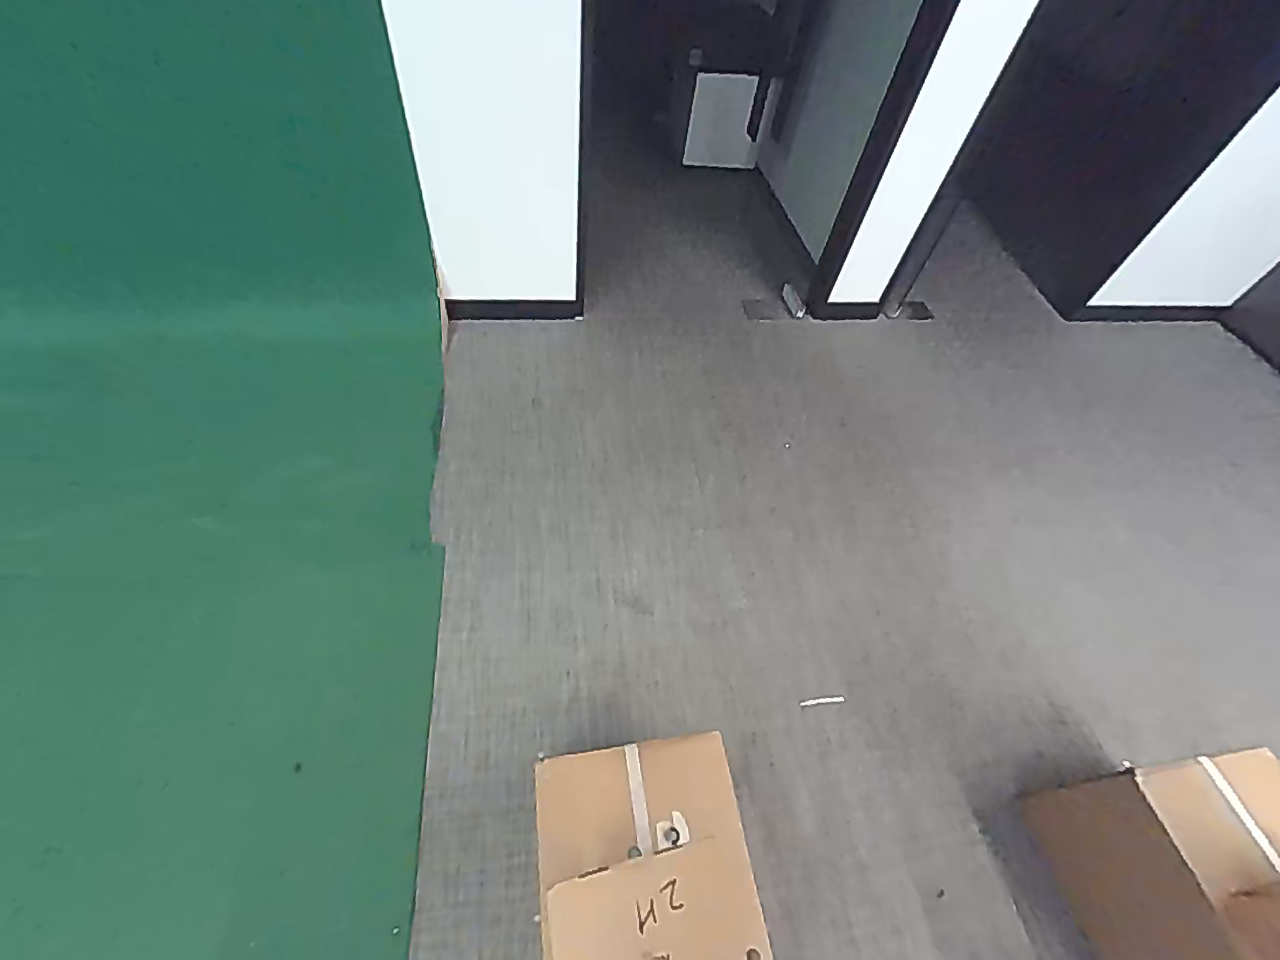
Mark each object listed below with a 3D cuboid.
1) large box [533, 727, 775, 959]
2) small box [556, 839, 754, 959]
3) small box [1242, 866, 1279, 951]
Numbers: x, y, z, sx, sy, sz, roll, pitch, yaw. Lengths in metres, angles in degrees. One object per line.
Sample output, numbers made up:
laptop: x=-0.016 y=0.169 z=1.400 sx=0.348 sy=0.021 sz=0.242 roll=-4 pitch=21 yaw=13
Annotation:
large box: x=0.003 y=0.680 z=0.894 sx=0.320 sy=0.320 sz=0.408 roll=-4 pitch=53 yaw=-11
small box: x=0.022 y=0.475 z=0.527 sx=0.168 sy=0.176 sz=0.179 roll=-12 pitch=54 yaw=-8
small box: x=1.041 y=0.640 z=0.758 sx=0.179 sy=0.176 sz=0.168 roll=-6 pitch=55 yaw=-11
